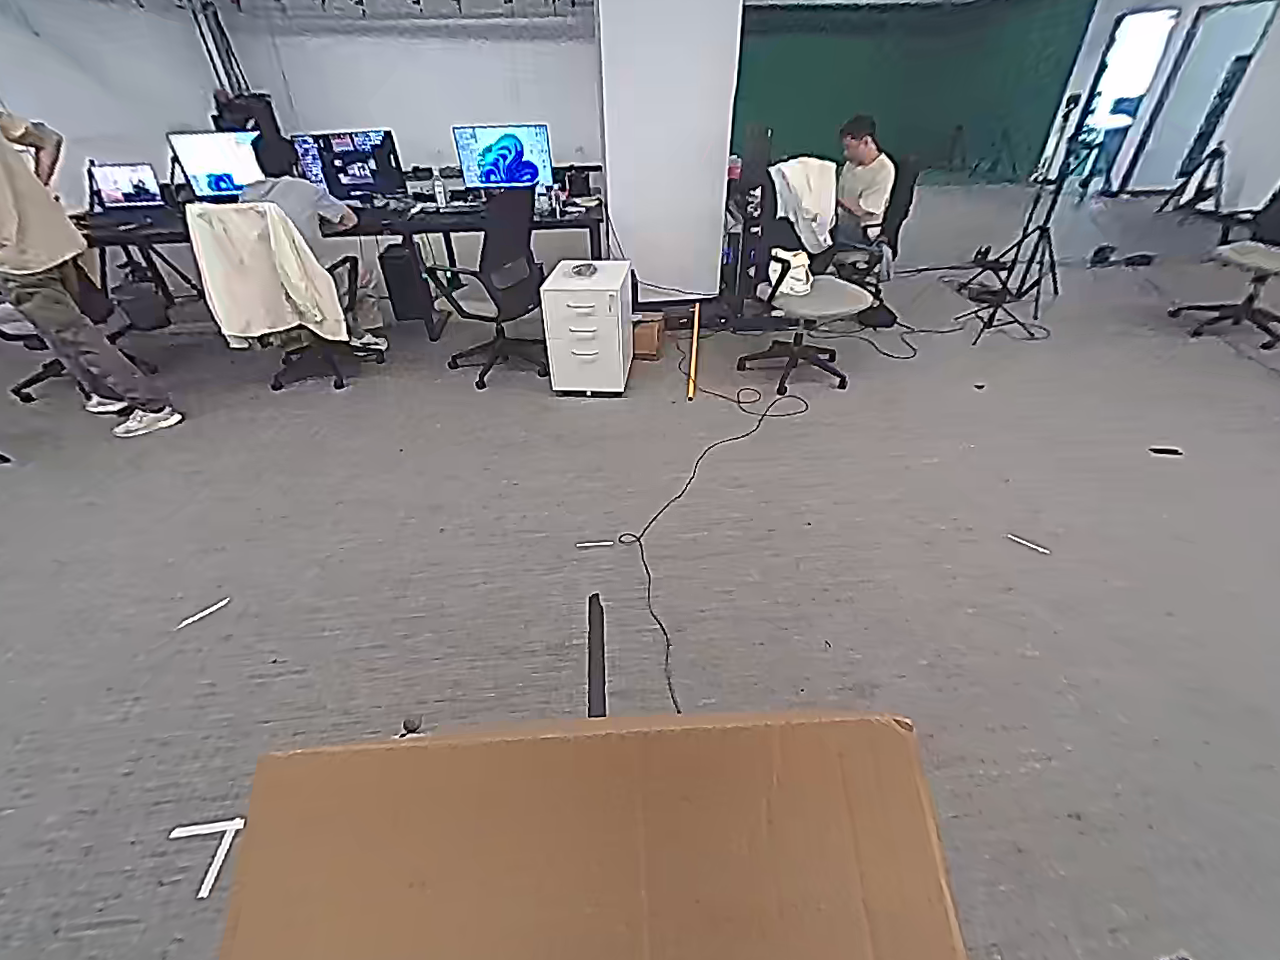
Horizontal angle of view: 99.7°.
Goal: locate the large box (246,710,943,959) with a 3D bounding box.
[{"bbox_3d":[-0.023,0.361,0.427,0.408,0.320,0.320,-4,68,2],"label":"large box"}]
